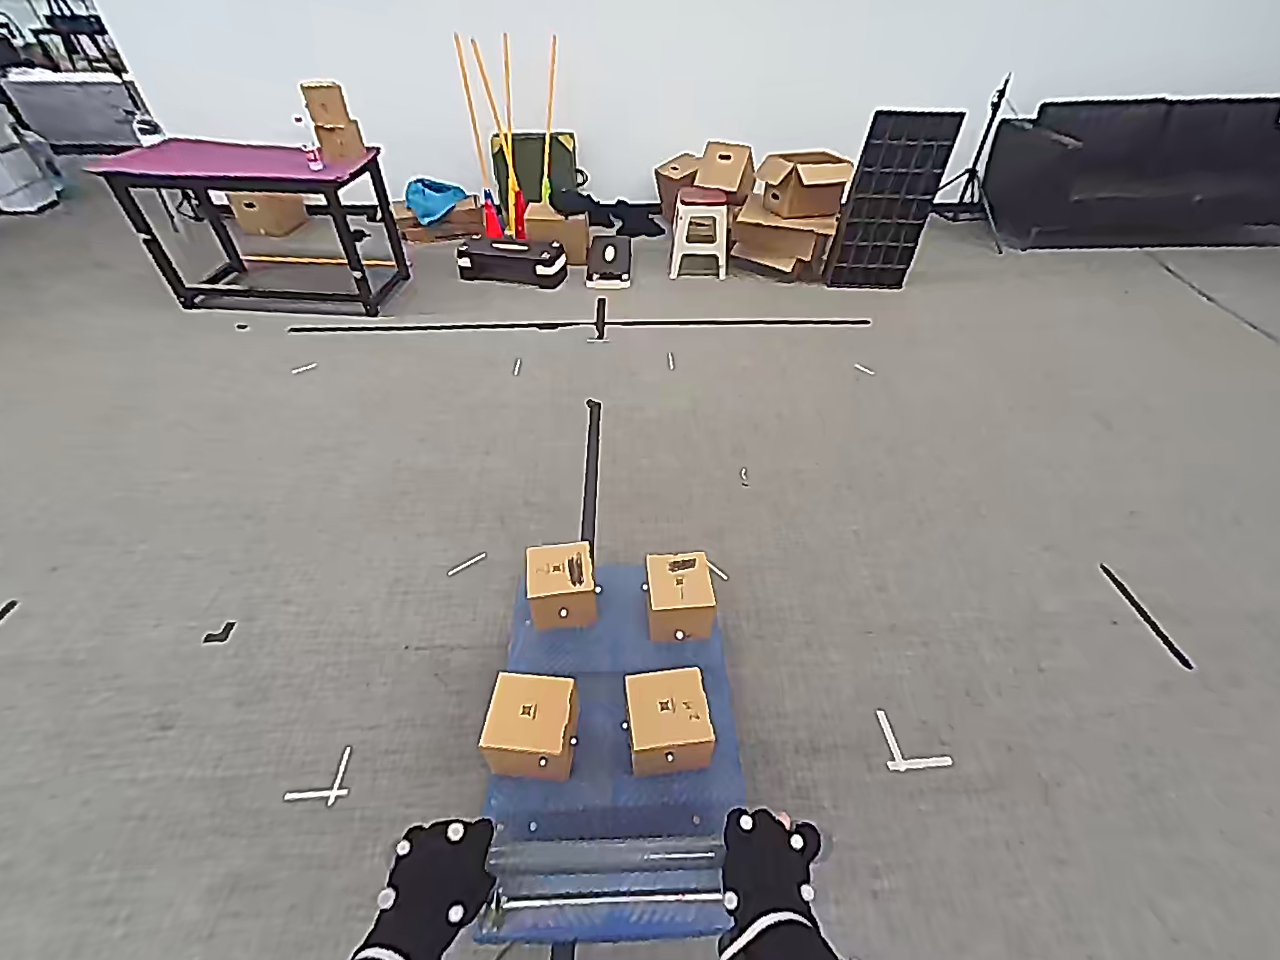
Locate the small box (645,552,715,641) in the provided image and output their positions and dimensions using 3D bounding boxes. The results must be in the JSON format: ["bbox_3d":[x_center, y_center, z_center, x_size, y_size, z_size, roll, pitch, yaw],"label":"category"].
[{"bbox_3d":[0.103,0.318,1.476,0.168,0.176,0.179,-3,45,-4],"label":"small box"}]

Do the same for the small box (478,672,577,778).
[{"bbox_3d":[-0.245,0.556,1.224,0.179,0.176,0.168,5,43,2],"label":"small box"}]

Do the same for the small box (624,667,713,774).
[{"bbox_3d":[0.059,0.551,1.233,0.179,0.176,0.168,-5,44,-5],"label":"small box"}]
